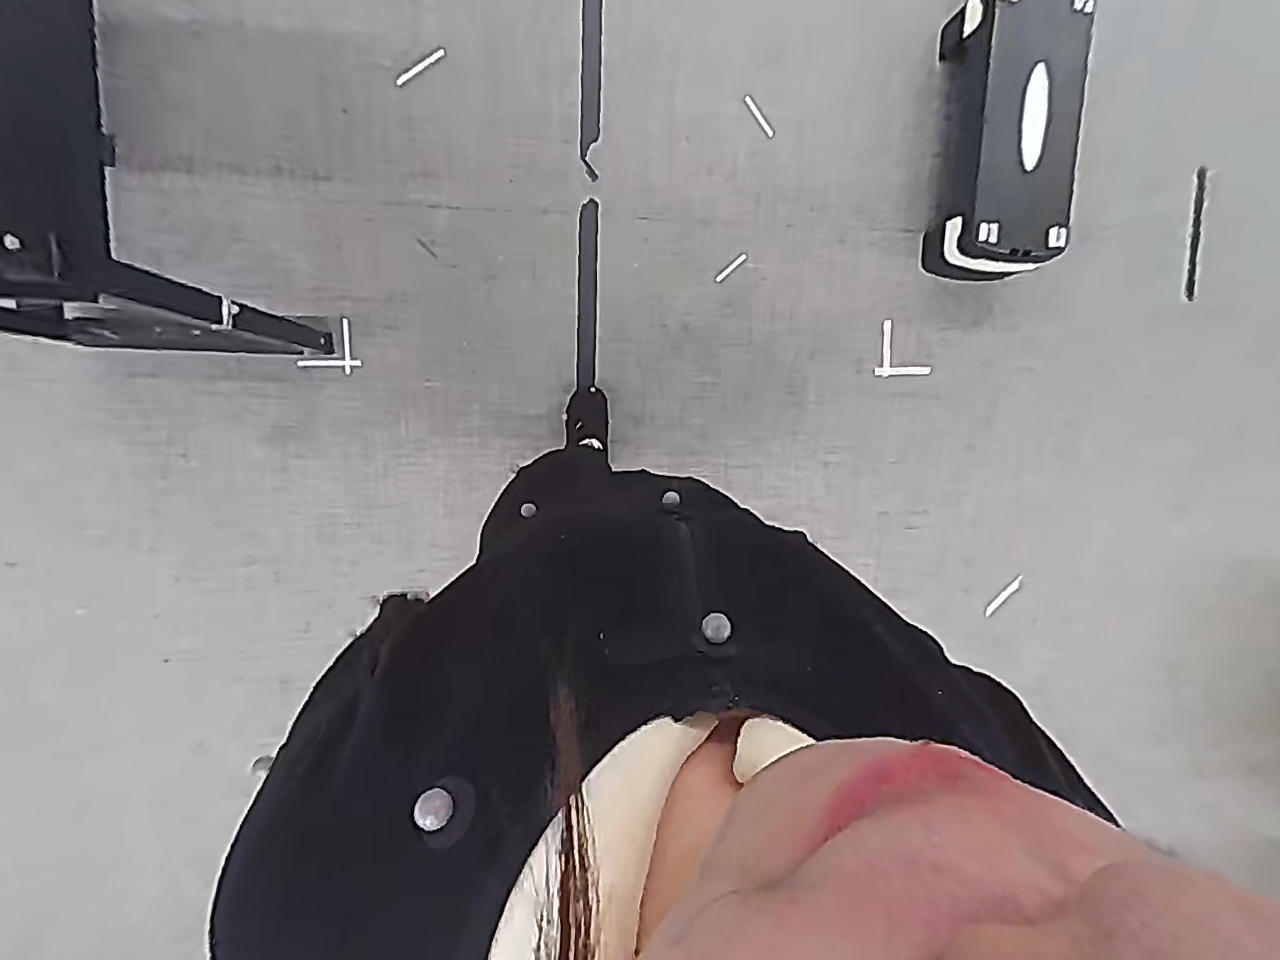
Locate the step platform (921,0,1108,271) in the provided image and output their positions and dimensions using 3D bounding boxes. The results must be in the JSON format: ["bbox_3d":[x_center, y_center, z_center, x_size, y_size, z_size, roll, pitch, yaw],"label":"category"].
[{"bbox_3d":[0.970,-0.928,1.410,0.286,0.204,0.684,6,95,-8],"label":"step platform"}]
